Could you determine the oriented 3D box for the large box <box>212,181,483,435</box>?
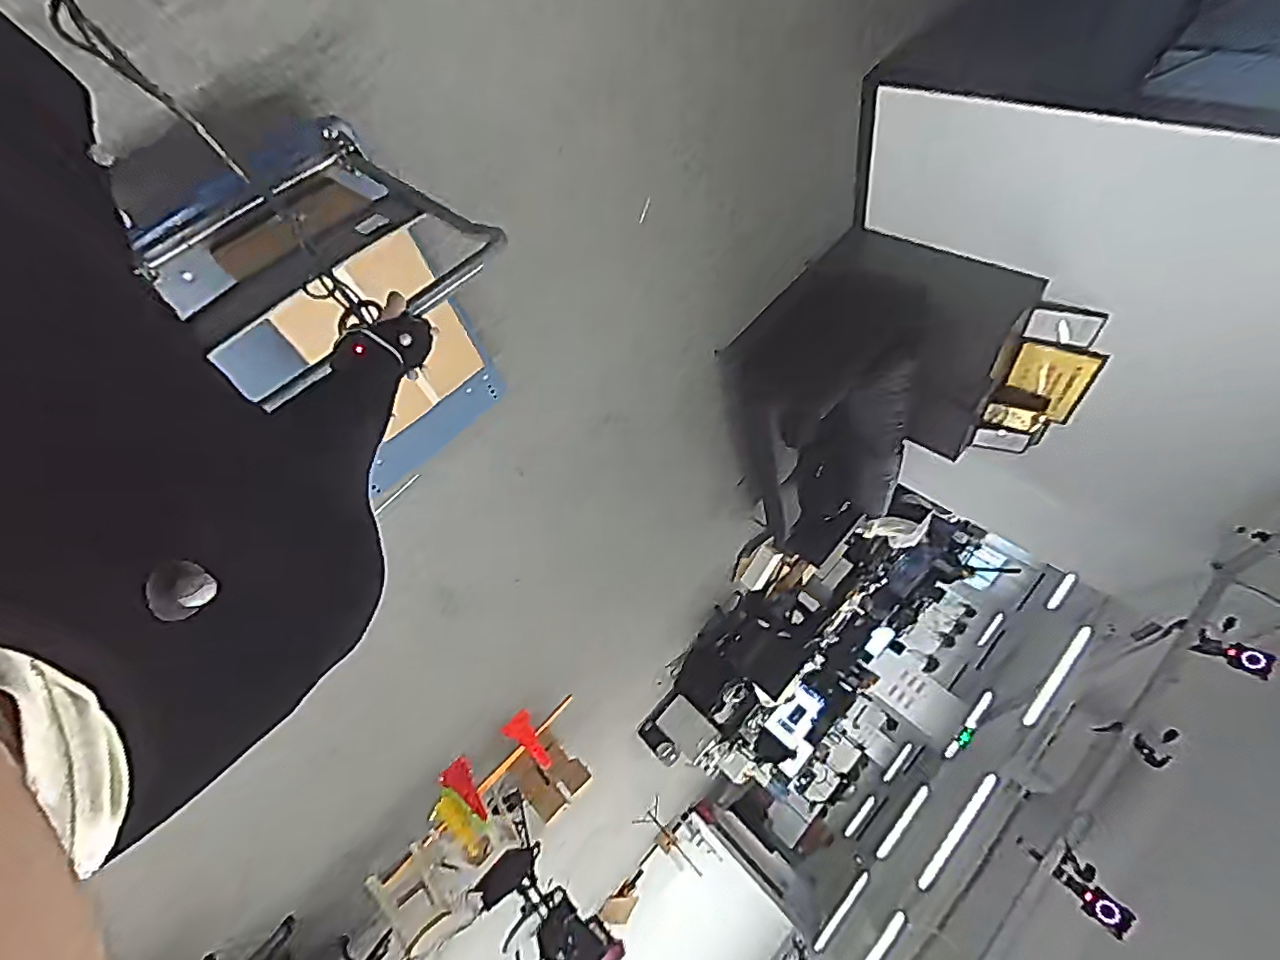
[{"bbox_3d":[-0.645,-0.388,1.243,0.320,0.320,0.408,-43,148,-17],"label":"large box"}]
